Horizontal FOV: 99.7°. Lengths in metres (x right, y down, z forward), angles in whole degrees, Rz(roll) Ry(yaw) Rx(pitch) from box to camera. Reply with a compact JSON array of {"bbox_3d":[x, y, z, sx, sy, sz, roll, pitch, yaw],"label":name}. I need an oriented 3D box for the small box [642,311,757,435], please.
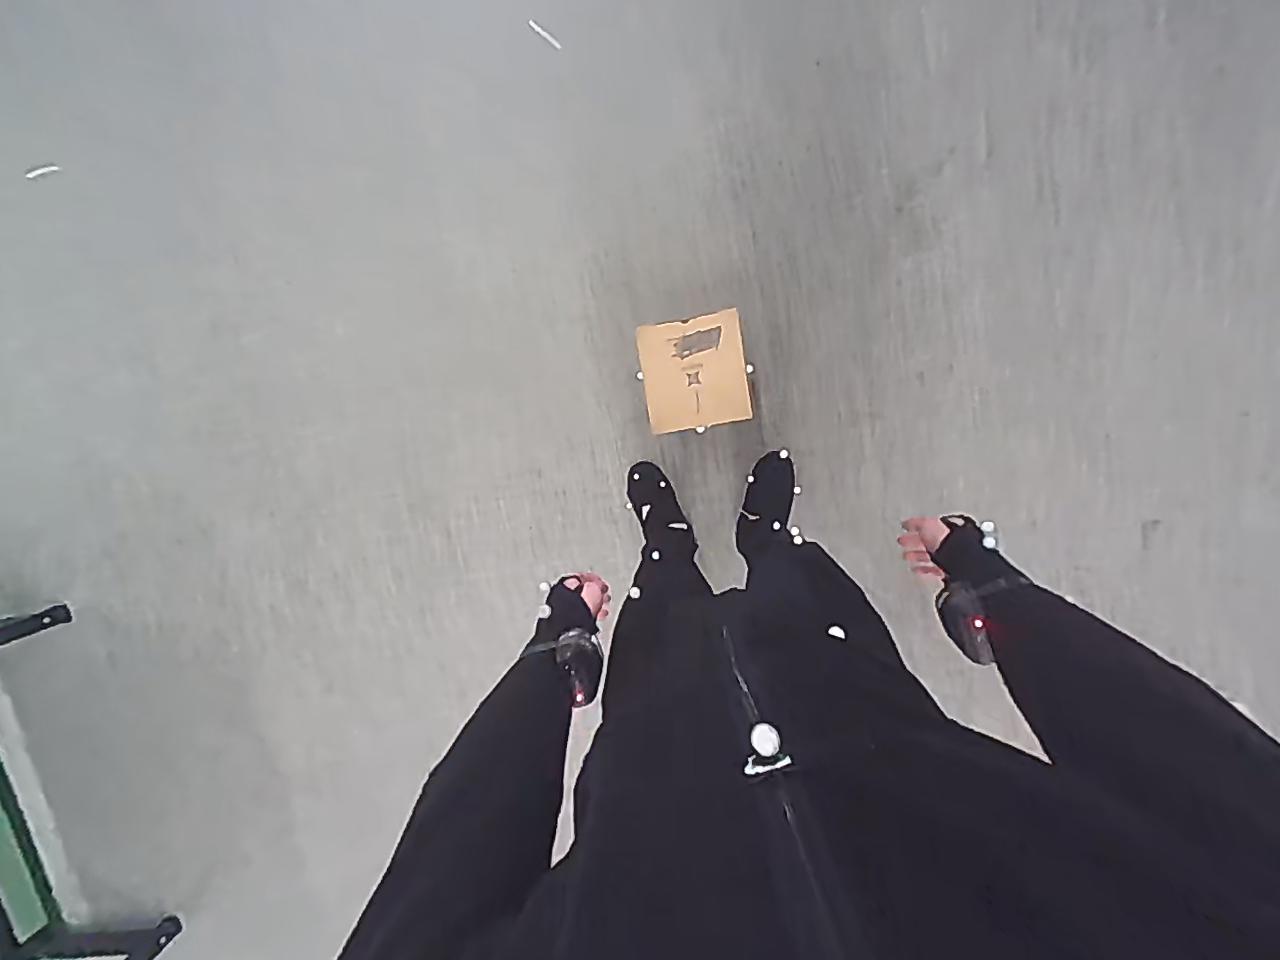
[{"bbox_3d":[0.104,-0.181,0.946,0.168,0.176,0.179,-9,98,9],"label":"small box"}]
